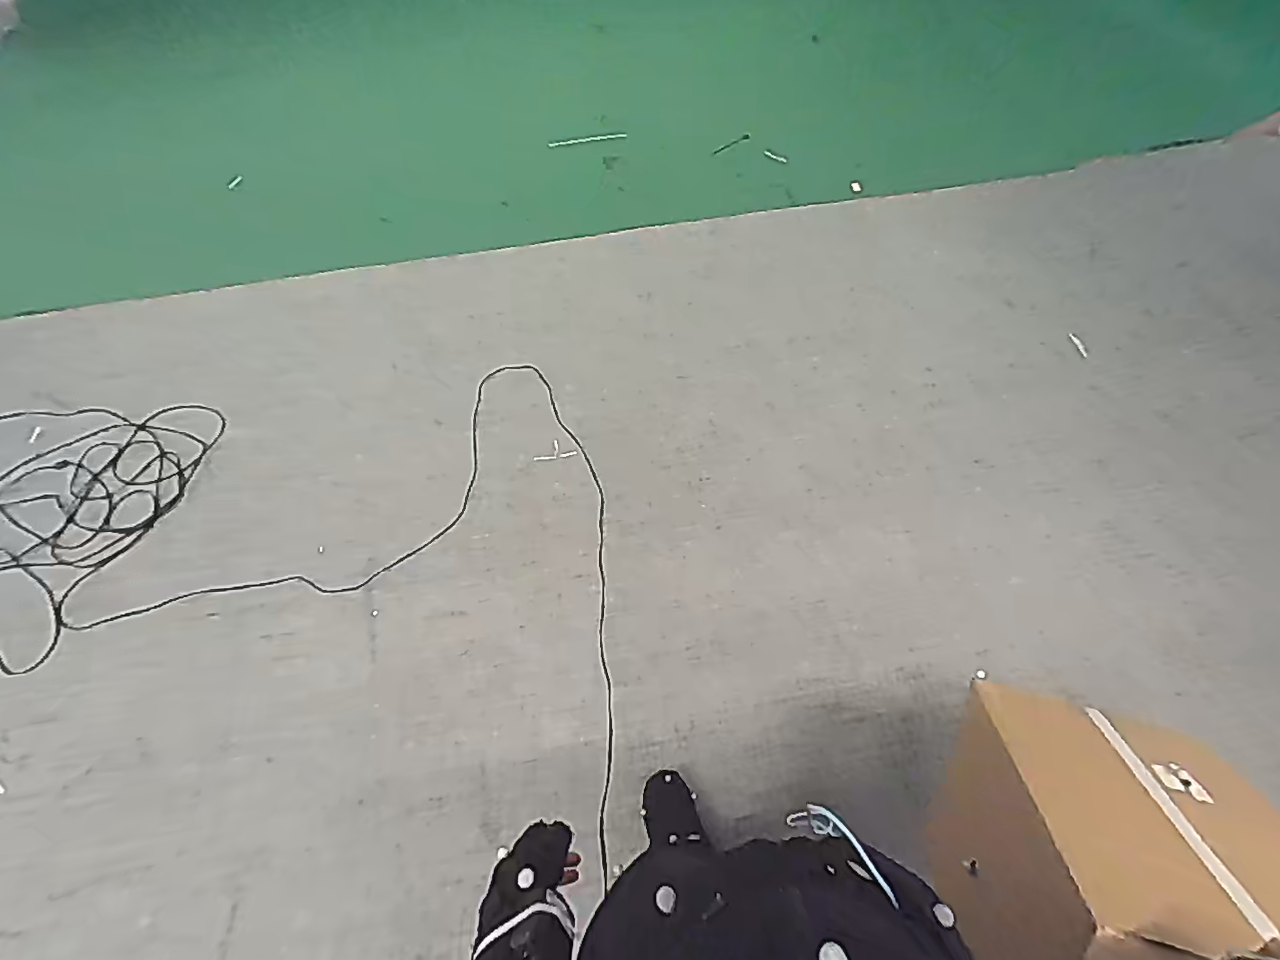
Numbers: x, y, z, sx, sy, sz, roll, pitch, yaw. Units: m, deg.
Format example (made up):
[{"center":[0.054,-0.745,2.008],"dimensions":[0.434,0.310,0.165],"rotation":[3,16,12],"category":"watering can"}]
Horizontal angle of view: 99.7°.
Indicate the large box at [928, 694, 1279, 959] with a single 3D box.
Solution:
[{"center":[0.592,0.547,0.660],"dimensions":[0.320,0.408,0.320],"rotation":[13,105,15],"category":"large box"}]
